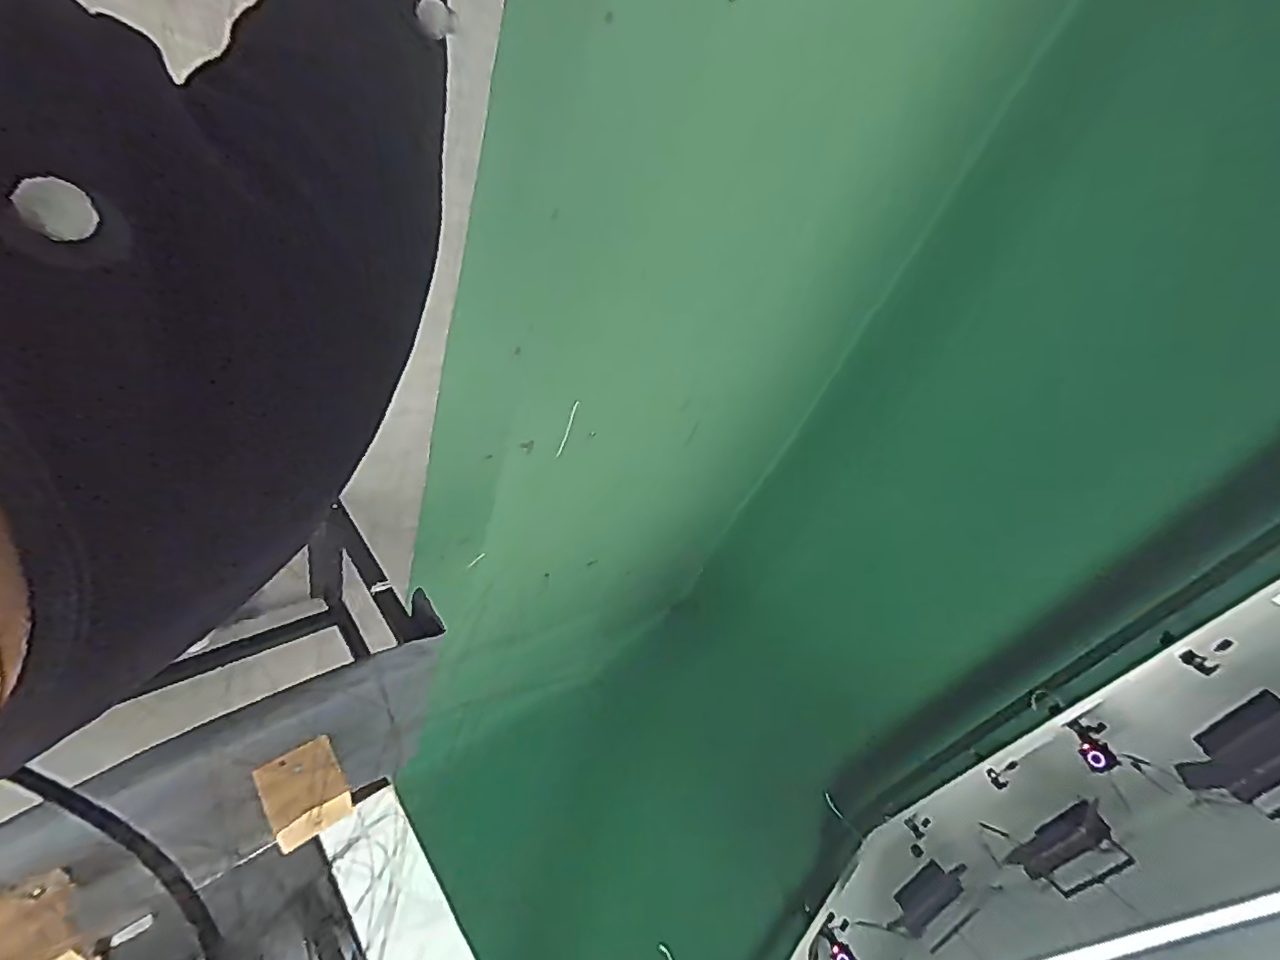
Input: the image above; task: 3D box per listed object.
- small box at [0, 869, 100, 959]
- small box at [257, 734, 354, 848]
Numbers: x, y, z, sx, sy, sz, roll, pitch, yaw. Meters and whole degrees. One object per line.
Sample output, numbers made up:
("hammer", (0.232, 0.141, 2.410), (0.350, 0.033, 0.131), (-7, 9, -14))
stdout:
("small box", (-1.208, 0.912, 1.060), (0.168, 0.176, 0.179), (-18, 144, -42))
("small box", (-0.856, 0.792, 1.390), (0.168, 0.176, 0.179), (-22, 146, -40))
